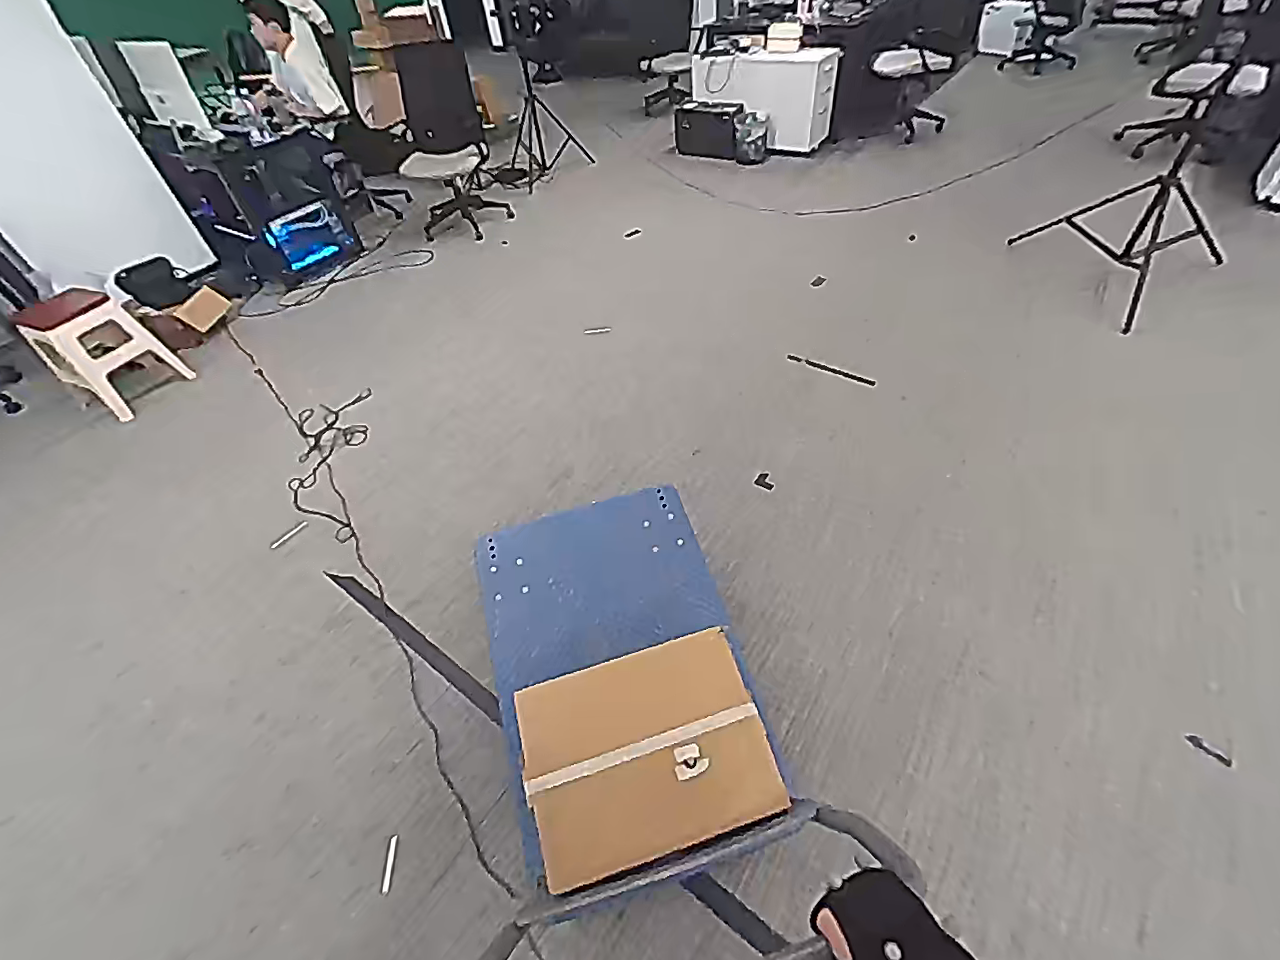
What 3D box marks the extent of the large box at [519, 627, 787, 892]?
[{"bbox_3d":[0.016,0.541,1.067,0.408,0.320,0.320,-17,60,-8],"label":"large box"}]
